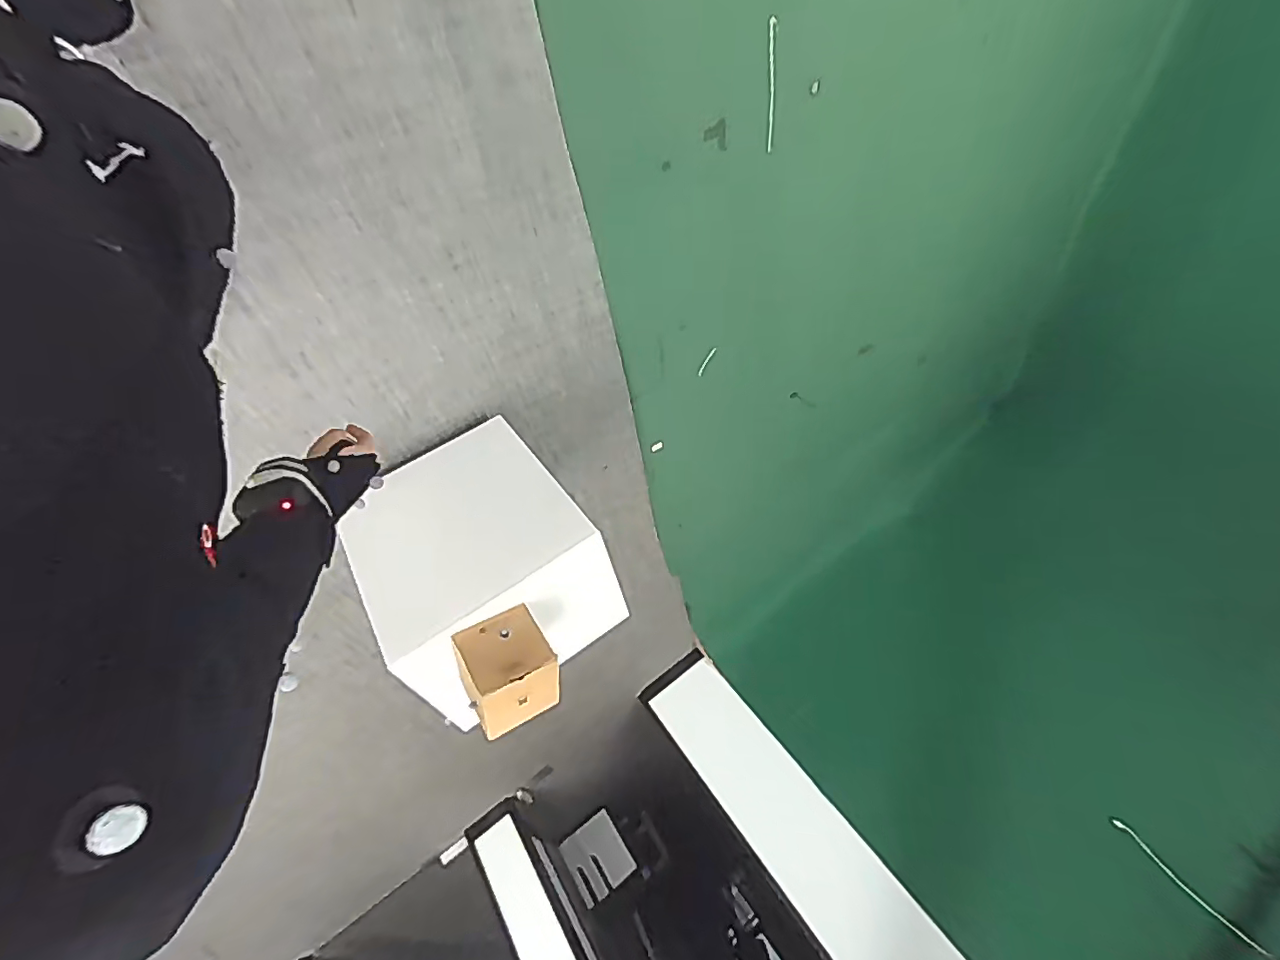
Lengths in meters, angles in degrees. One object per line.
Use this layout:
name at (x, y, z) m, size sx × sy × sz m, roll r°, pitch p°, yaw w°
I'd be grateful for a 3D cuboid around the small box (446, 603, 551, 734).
small box at (-0.304, 0.402, 1.172) m, size 0.168 × 0.176 × 0.179 m, roll -21°, pitch 136°, yaw -29°
